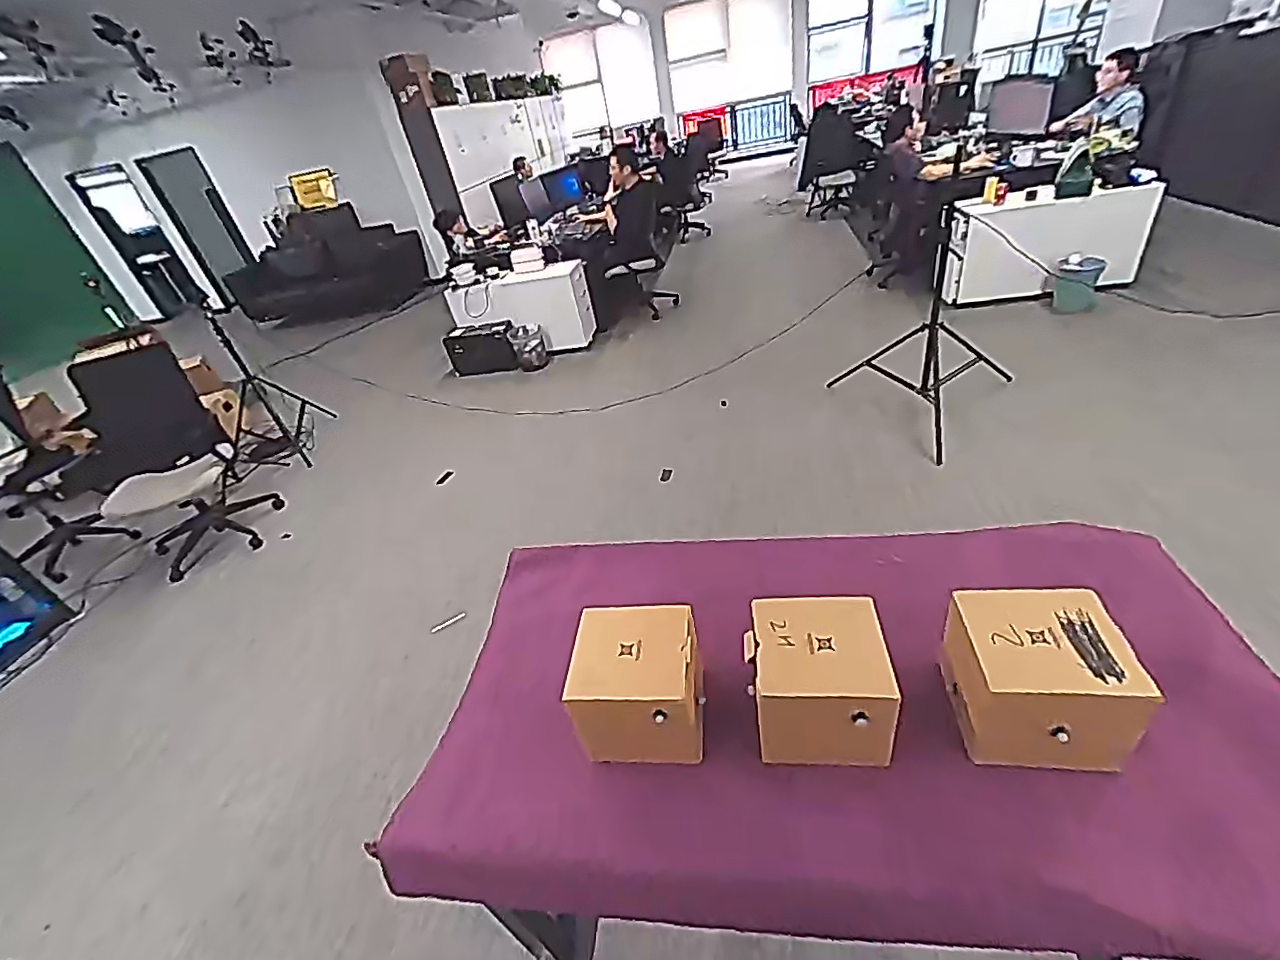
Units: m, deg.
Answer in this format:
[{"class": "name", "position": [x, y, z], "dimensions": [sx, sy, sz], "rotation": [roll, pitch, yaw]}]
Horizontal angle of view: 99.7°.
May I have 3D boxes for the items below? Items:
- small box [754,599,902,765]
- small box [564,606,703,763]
[{"class": "small box", "position": [0.261, 0.292, 0.787], "dimensions": [0.179, 0.176, 0.168], "rotation": [-5, 34, 12]}, {"class": "small box", "position": [0.000, 0.316, 0.838], "dimensions": [0.179, 0.176, 0.168], "rotation": [-5, 35, 10]}]
